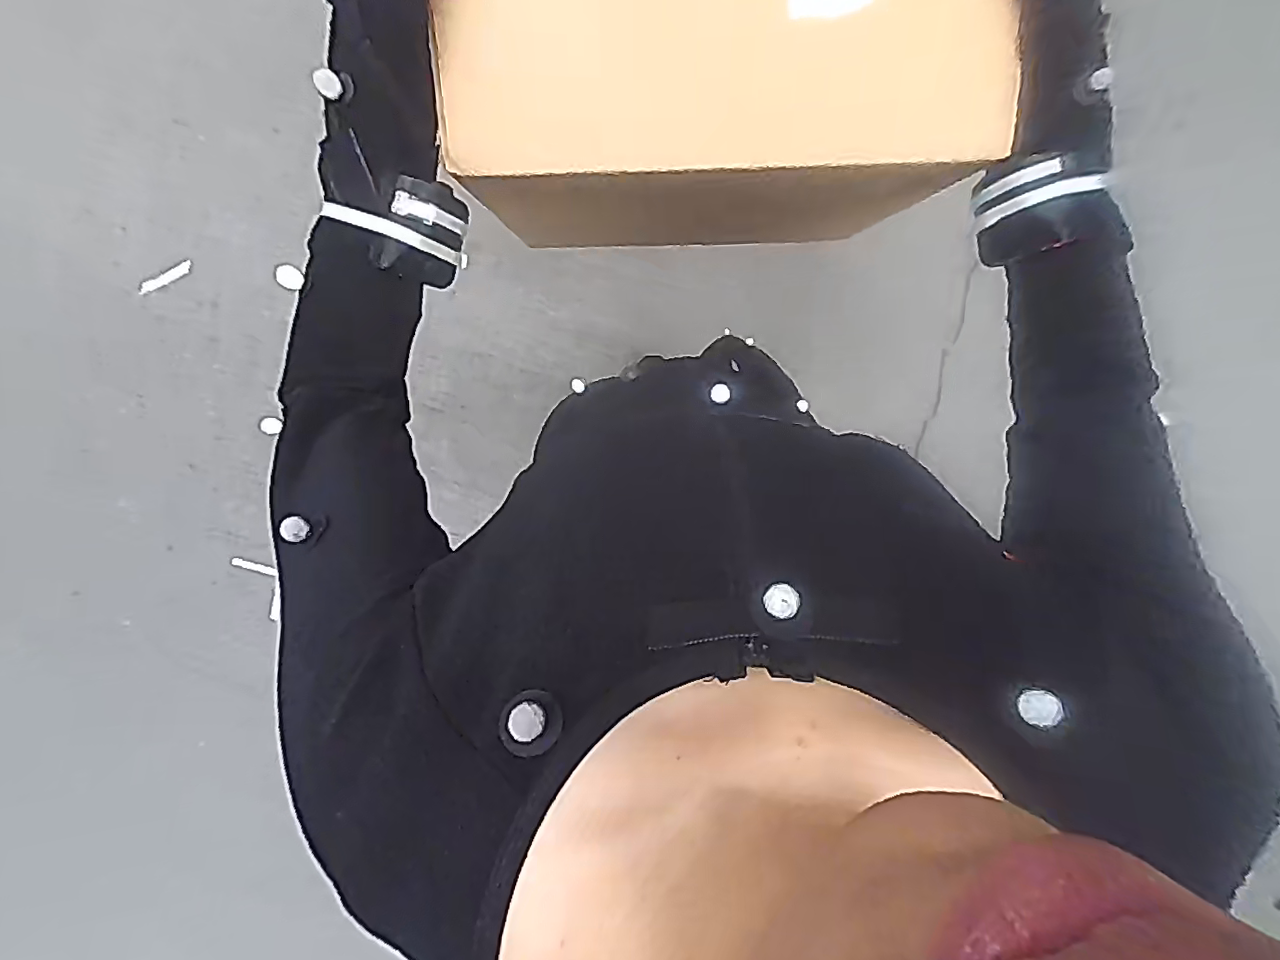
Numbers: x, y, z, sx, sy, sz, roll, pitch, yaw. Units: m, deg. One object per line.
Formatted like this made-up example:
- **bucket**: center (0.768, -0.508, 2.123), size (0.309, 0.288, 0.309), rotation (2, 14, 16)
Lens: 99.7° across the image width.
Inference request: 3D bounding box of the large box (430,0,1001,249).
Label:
- **large box**: center (0.047, -0.417, 0.506), size (0.408, 0.320, 0.320), rotation (-2, 104, -1)
